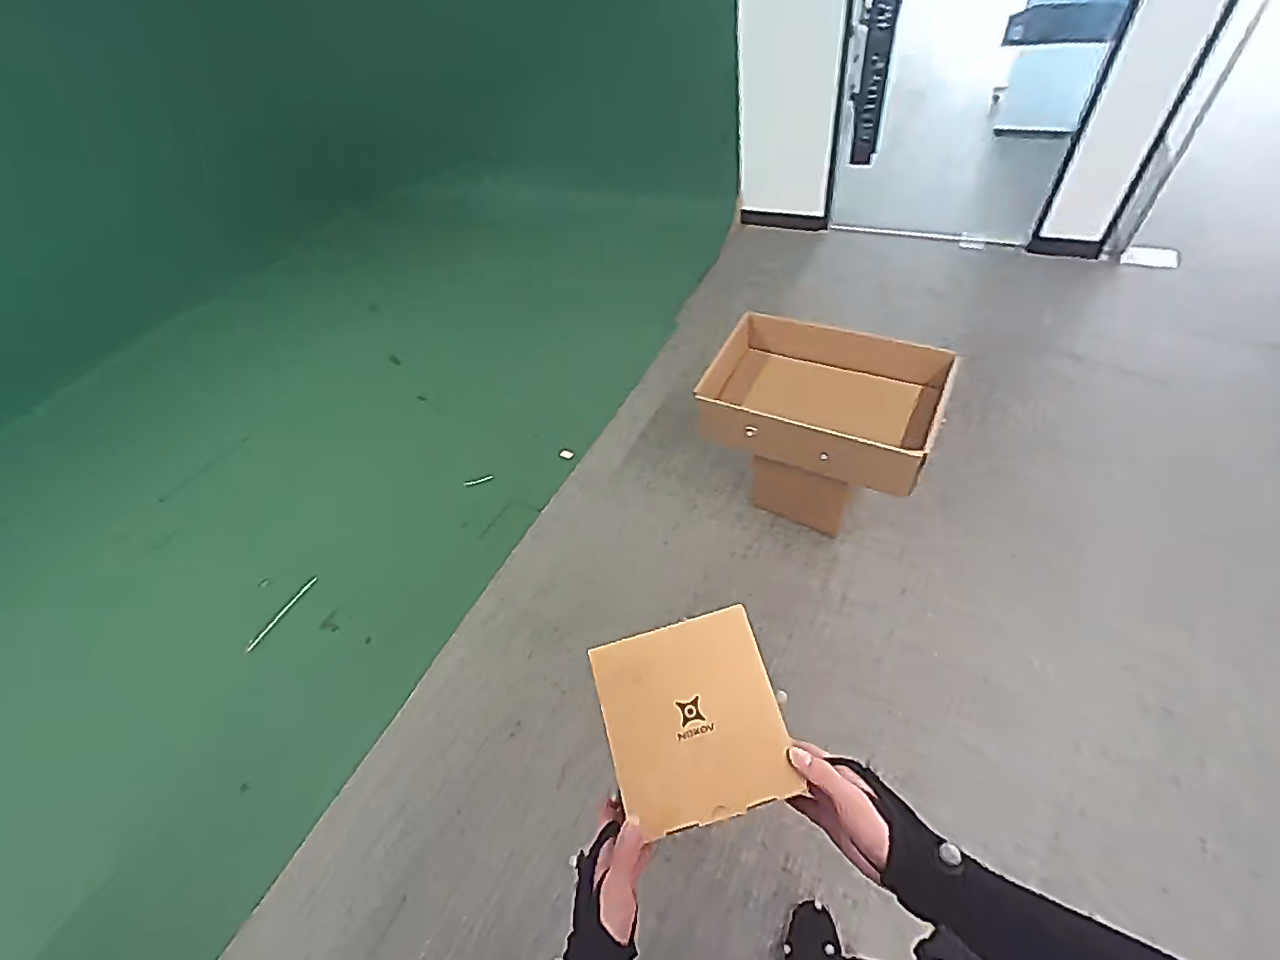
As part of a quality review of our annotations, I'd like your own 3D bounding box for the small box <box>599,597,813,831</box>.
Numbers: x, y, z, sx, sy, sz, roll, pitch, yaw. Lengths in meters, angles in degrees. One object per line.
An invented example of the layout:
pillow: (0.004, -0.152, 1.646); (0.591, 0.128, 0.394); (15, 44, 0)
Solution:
small box: (0.061, 0.245, 0.588); (0.168, 0.176, 0.179); (-16, 69, -3)
